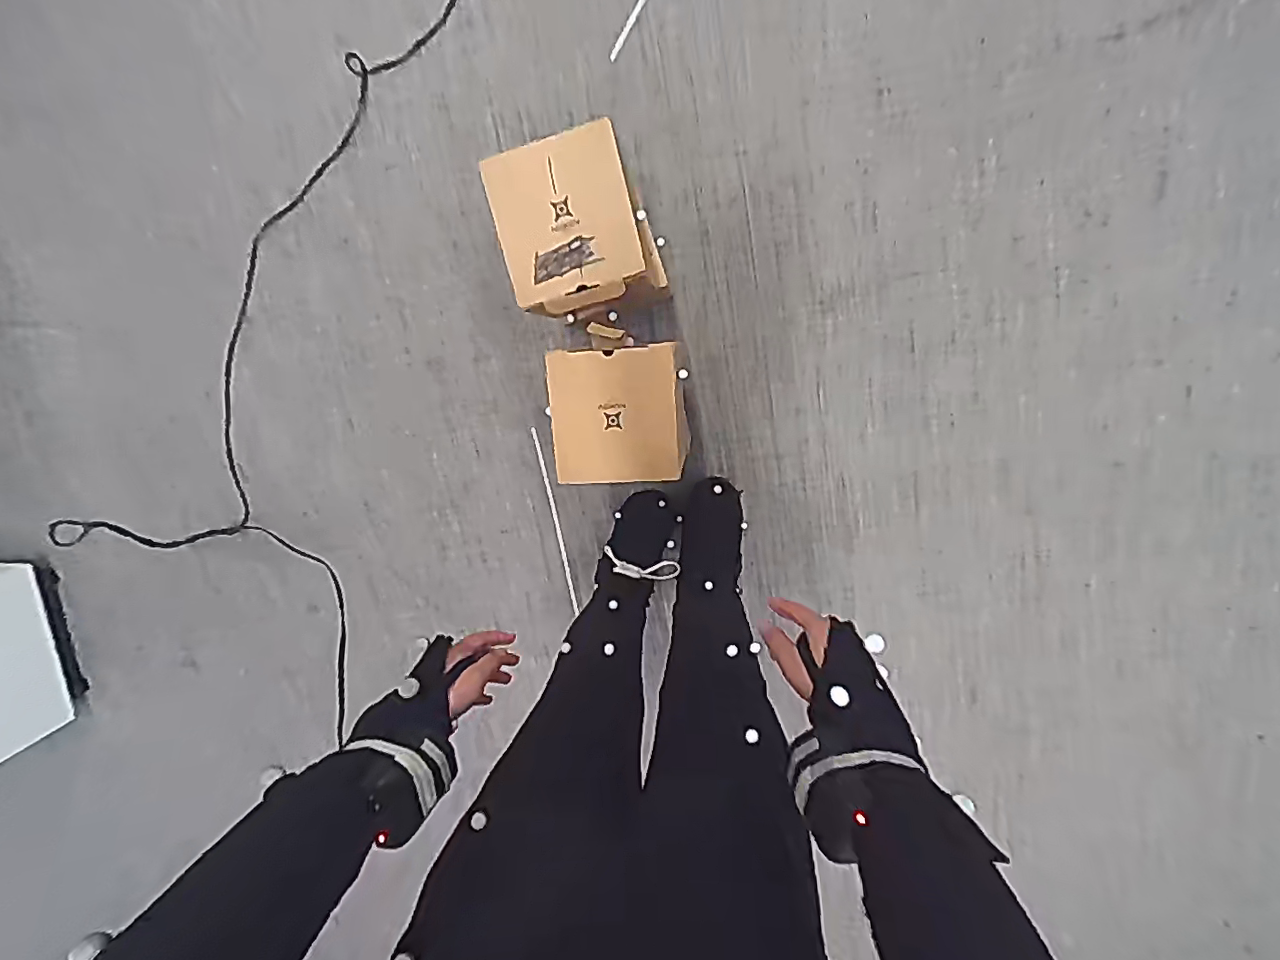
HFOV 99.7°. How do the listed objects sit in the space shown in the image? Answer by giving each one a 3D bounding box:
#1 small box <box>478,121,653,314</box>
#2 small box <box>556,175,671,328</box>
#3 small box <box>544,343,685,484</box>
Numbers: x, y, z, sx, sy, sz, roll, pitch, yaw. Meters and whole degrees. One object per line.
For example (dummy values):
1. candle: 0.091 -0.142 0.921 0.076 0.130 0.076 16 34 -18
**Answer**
1. small box: -0.084 -0.327 0.717 0.168 0.176 0.179 -13 100 9
2. small box: -0.058 -0.355 0.879 0.179 0.176 0.168 -18 100 10
3. small box: -0.025 -0.100 0.769 0.168 0.176 0.179 -2 103 8
